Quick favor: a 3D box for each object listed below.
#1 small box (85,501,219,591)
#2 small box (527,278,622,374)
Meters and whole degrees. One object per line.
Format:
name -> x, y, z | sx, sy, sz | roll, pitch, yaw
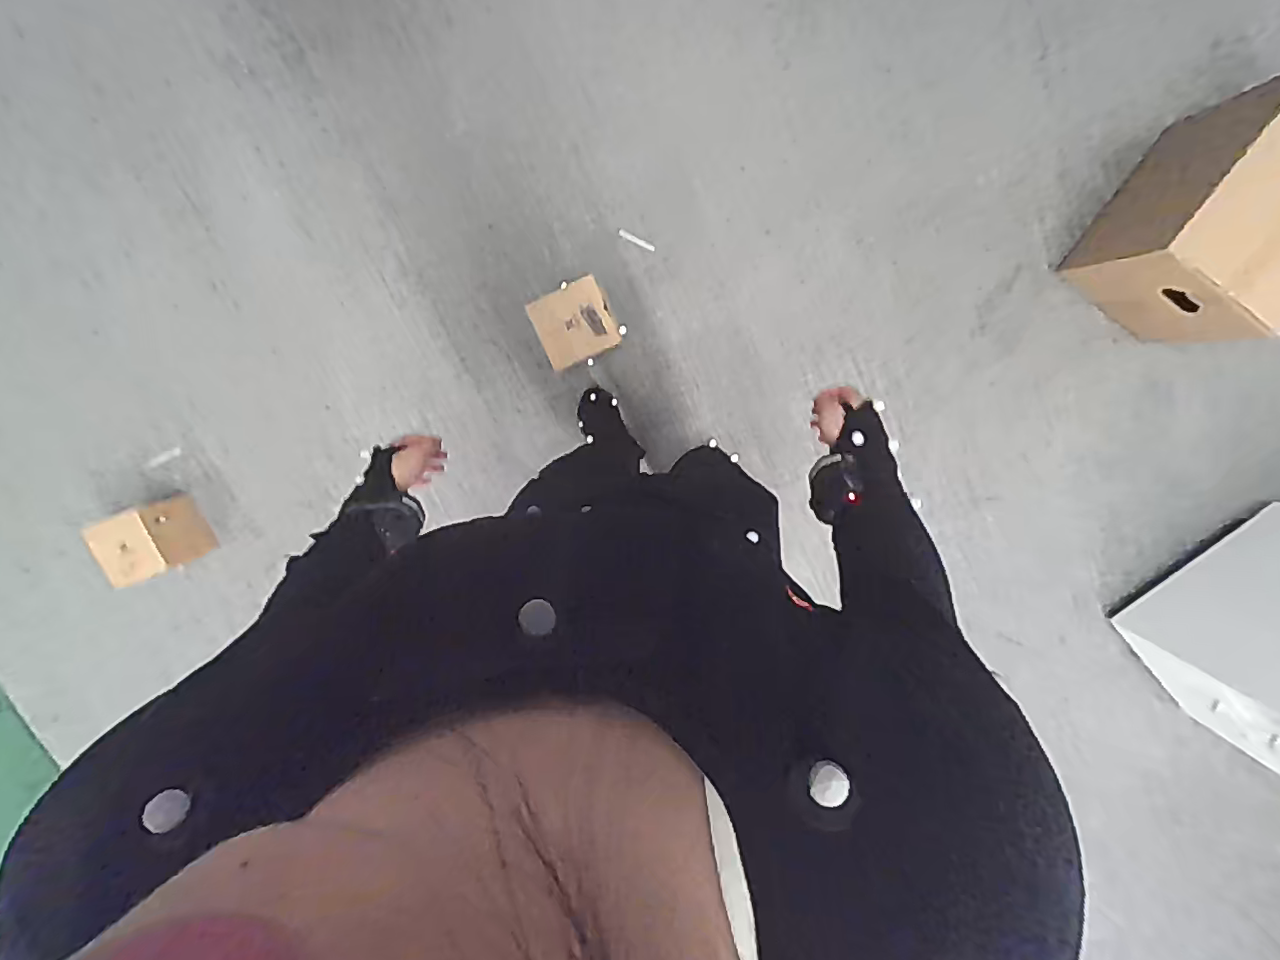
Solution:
small box -> -1.296, 0.167, 1.451 | 0.168, 0.176, 0.179 | -19, 101, 5
small box -> -0.153, -0.375, 1.331 | 0.179, 0.176, 0.168 | -24, 101, 6
